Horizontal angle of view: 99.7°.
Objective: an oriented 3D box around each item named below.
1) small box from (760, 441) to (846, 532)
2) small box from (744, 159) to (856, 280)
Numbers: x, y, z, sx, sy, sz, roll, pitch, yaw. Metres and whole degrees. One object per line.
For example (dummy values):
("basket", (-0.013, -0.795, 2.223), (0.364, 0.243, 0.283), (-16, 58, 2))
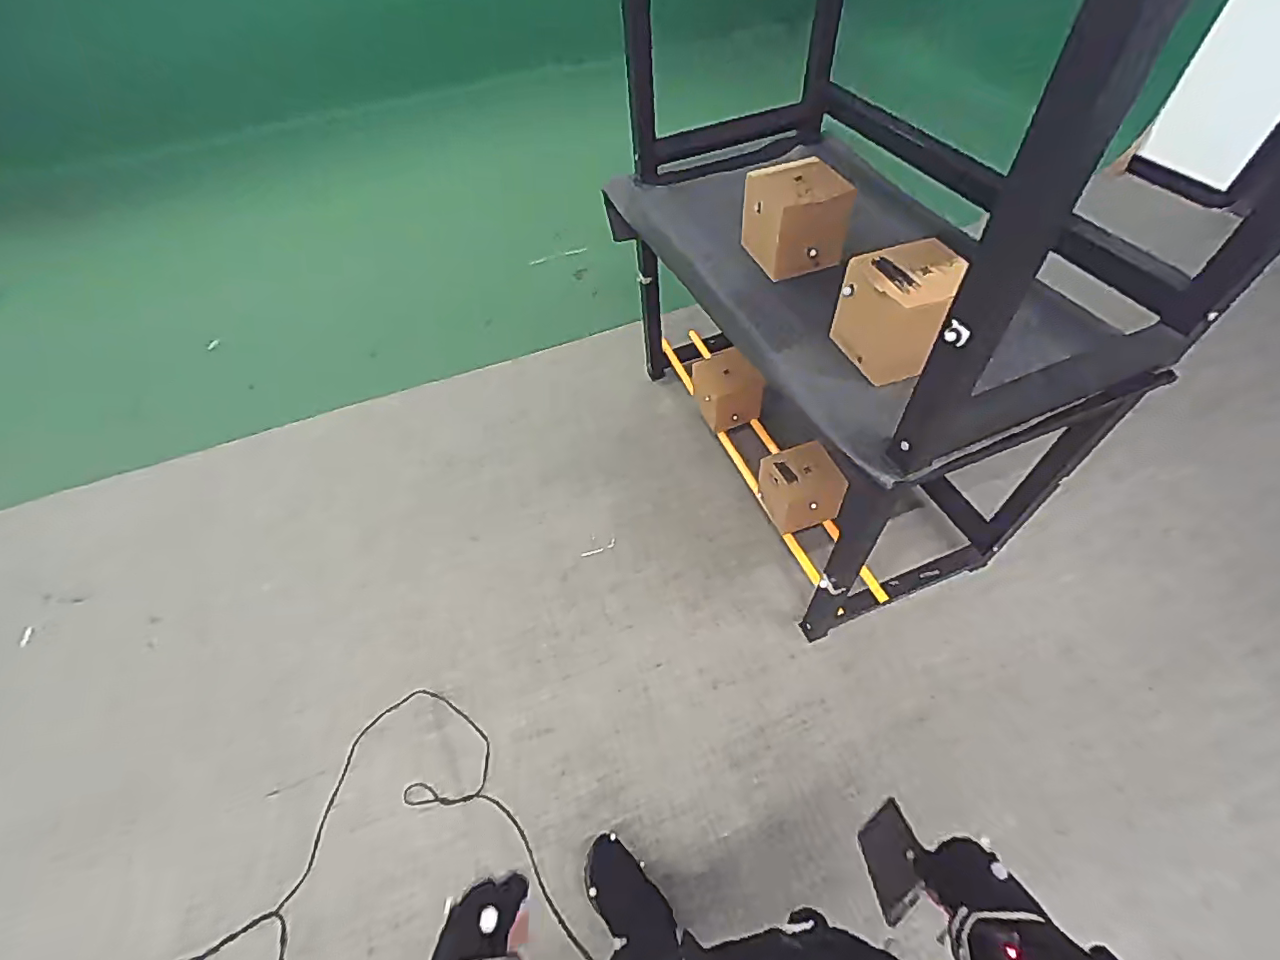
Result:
("small box", (0.447, 0.023, 1.520), (0.179, 0.176, 0.168), (-17, 54, -7))
("small box", (0.342, -0.575, 1.198), (0.168, 0.176, 0.179), (-17, 54, -7))
